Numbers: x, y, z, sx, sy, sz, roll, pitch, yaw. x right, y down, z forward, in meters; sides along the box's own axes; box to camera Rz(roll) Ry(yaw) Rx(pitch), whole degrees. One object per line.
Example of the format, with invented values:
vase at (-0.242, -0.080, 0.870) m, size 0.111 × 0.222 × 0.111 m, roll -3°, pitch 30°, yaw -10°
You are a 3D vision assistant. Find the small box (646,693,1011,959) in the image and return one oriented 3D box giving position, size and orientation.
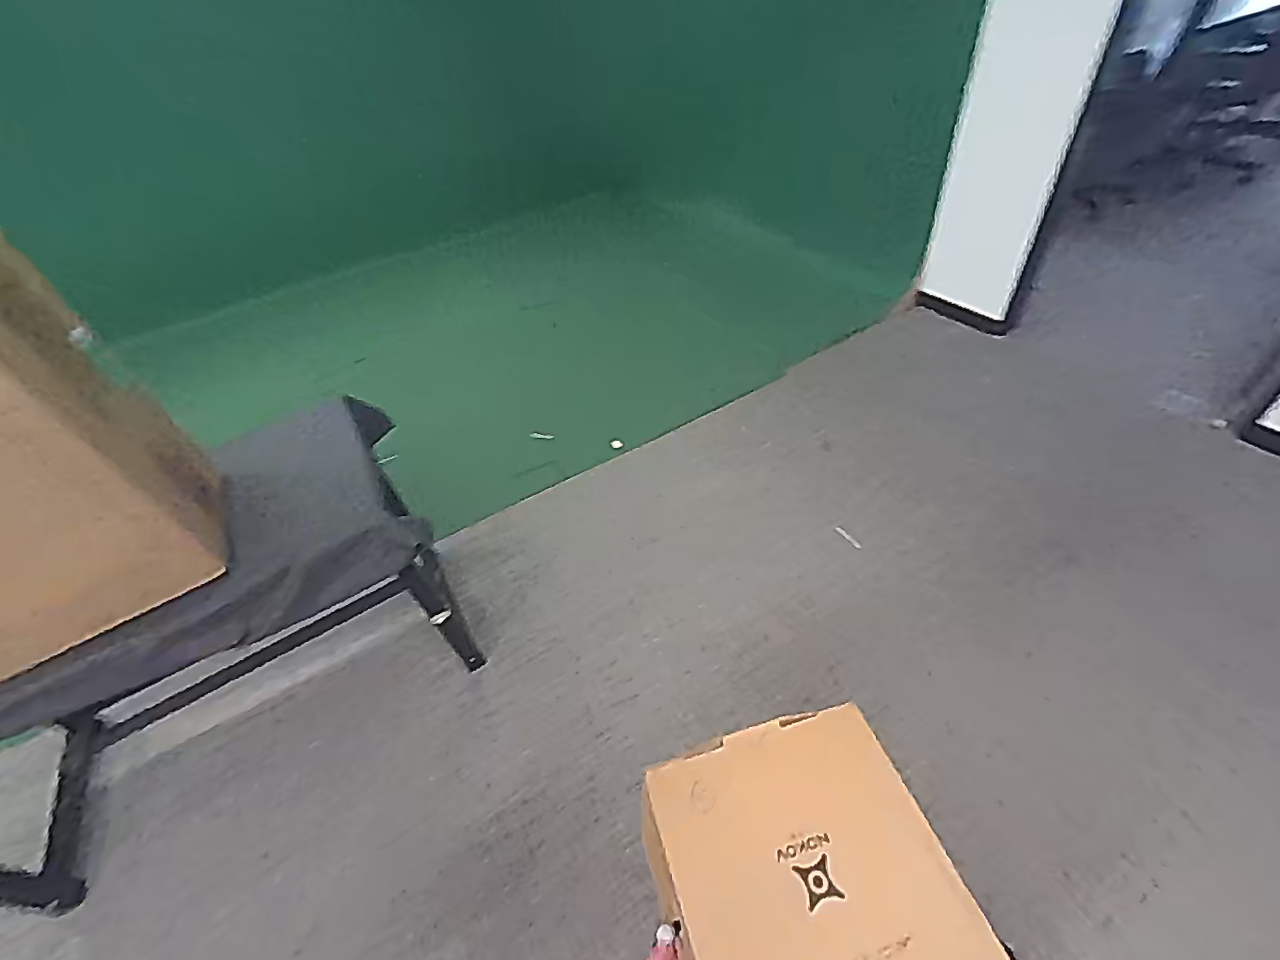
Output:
small box at (0.103, 0.289, 0.384) m, size 0.168 × 0.176 × 0.179 m, roll -12°, pitch 44°, yaw -12°
